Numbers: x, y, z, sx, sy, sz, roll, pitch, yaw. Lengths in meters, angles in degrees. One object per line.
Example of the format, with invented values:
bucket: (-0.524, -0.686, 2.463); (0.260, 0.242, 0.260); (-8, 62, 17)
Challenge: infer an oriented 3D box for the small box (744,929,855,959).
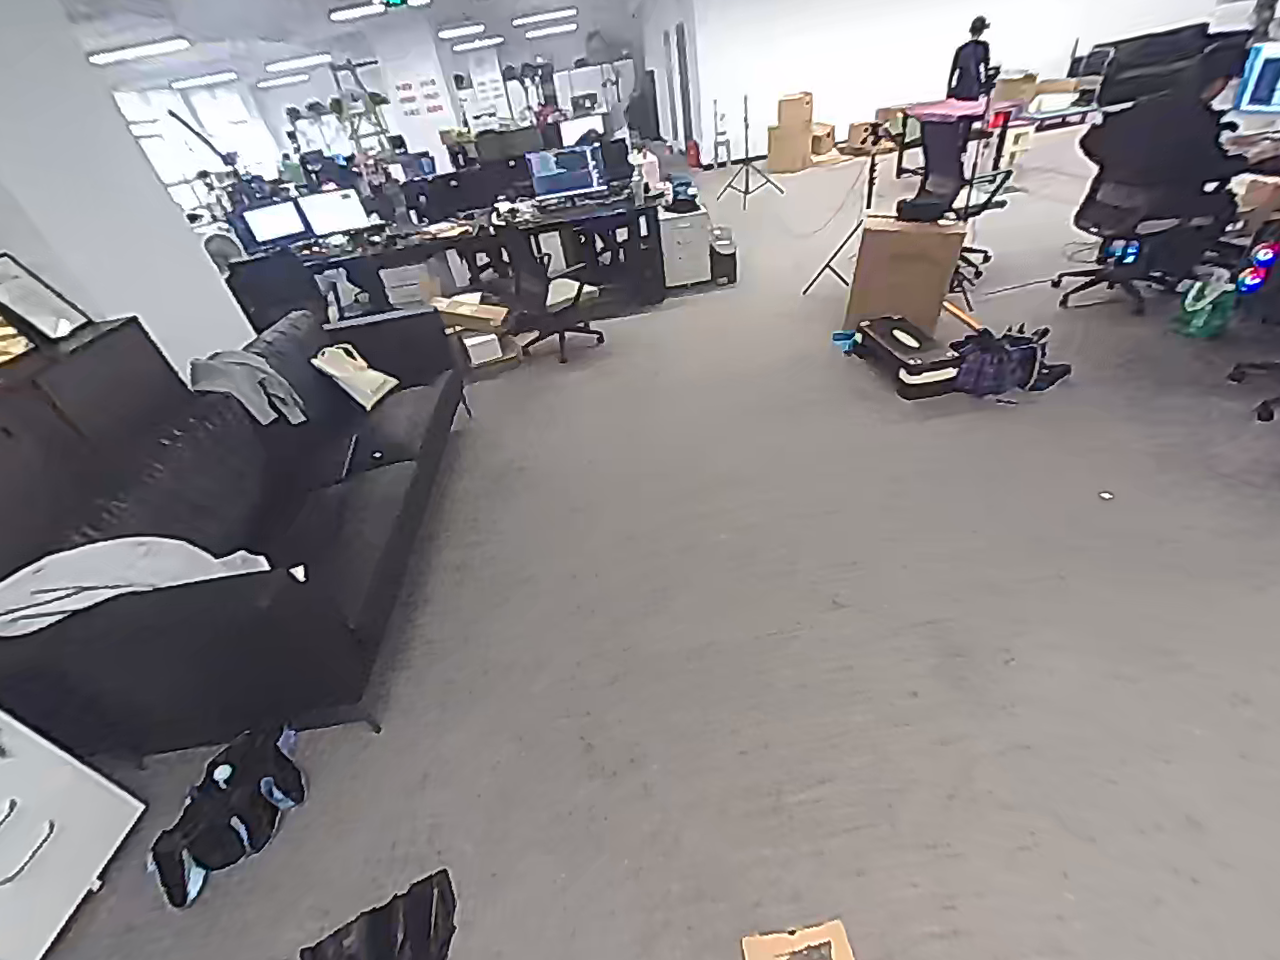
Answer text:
small box: (0.259, 0.829, 0.828); (0.168, 0.176, 0.179); (-10, 39, 0)
